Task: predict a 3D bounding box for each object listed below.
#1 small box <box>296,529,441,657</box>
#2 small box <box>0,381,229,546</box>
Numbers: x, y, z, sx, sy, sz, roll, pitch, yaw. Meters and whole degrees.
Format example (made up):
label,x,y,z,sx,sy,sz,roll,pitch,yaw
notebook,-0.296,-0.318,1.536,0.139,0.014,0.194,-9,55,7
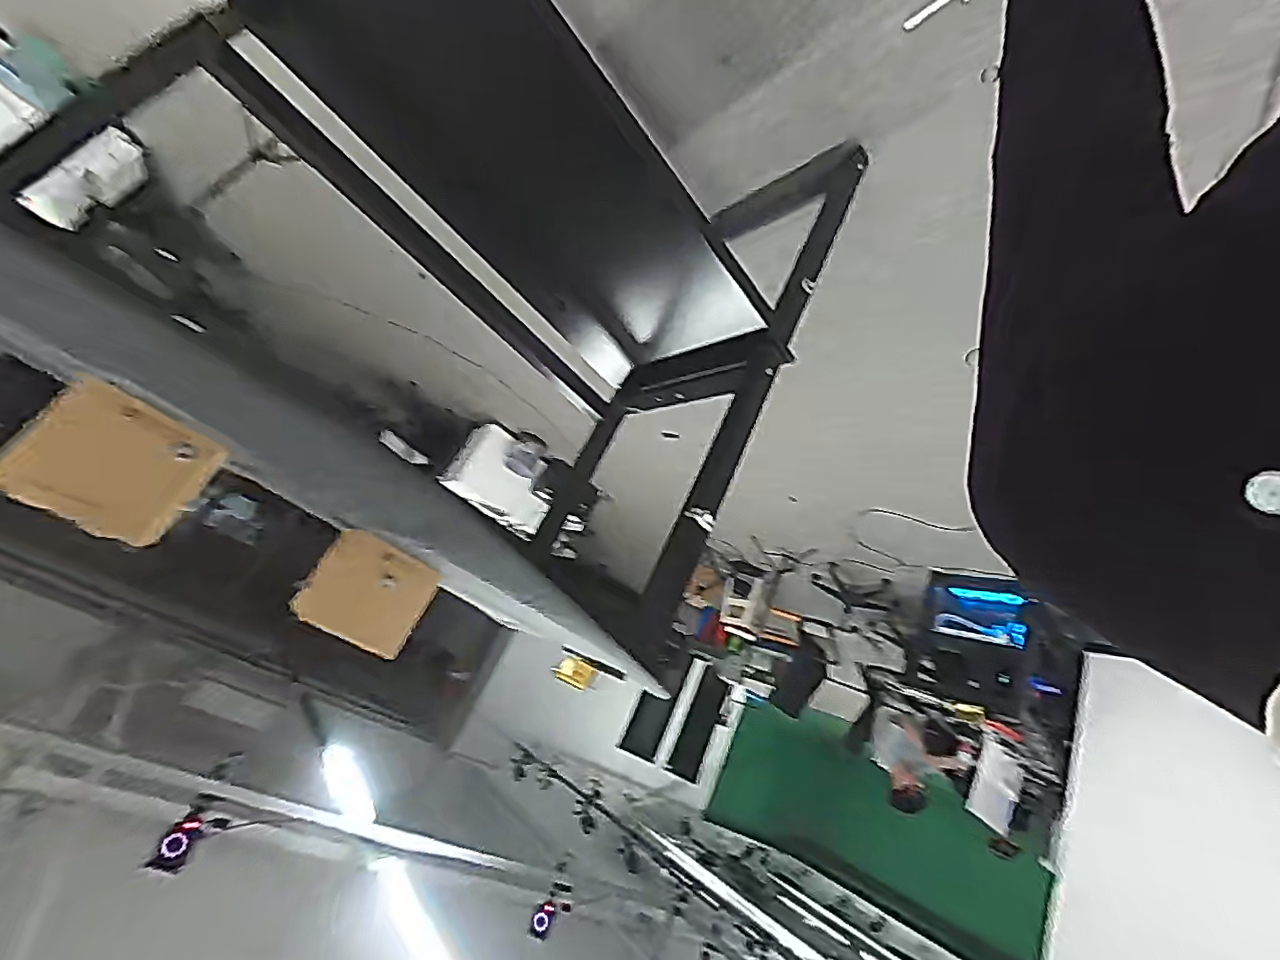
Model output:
label,x,y,z,sx,sy,sz,roll,pitch,yaw
small box,-0.500,0.201,1.003,0.168,0.176,0.179,39,155,-28
small box,-0.729,-0.022,0.775,0.168,0.176,0.179,40,156,-28
